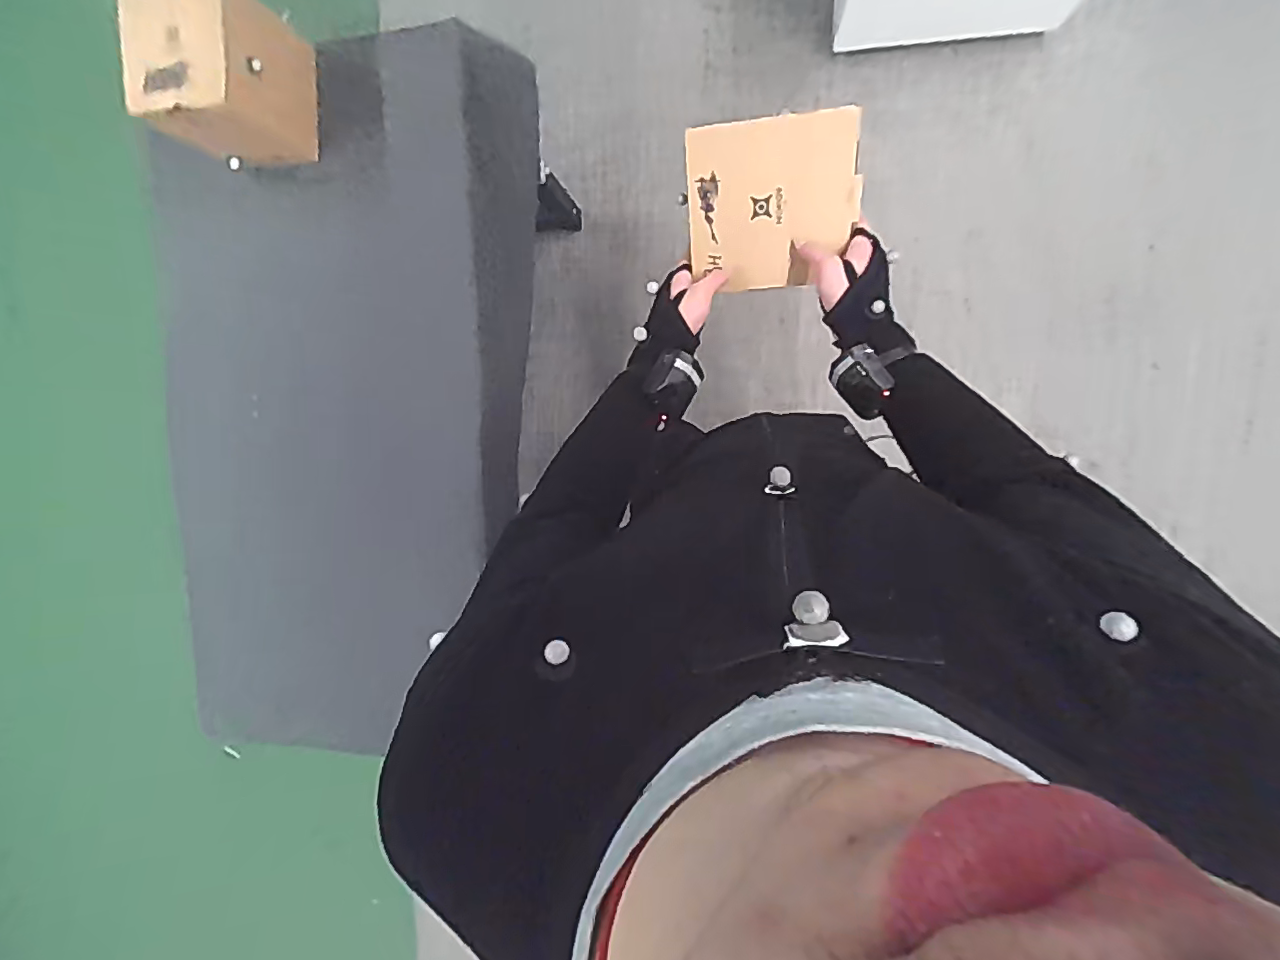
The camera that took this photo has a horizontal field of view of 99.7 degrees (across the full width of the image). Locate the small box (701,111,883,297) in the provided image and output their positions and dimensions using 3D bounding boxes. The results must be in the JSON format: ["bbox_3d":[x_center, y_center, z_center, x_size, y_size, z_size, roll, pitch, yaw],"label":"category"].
[{"bbox_3d":[0.162,-0.315,0.632,0.179,0.176,0.168,-1,116,9],"label":"small box"}]
